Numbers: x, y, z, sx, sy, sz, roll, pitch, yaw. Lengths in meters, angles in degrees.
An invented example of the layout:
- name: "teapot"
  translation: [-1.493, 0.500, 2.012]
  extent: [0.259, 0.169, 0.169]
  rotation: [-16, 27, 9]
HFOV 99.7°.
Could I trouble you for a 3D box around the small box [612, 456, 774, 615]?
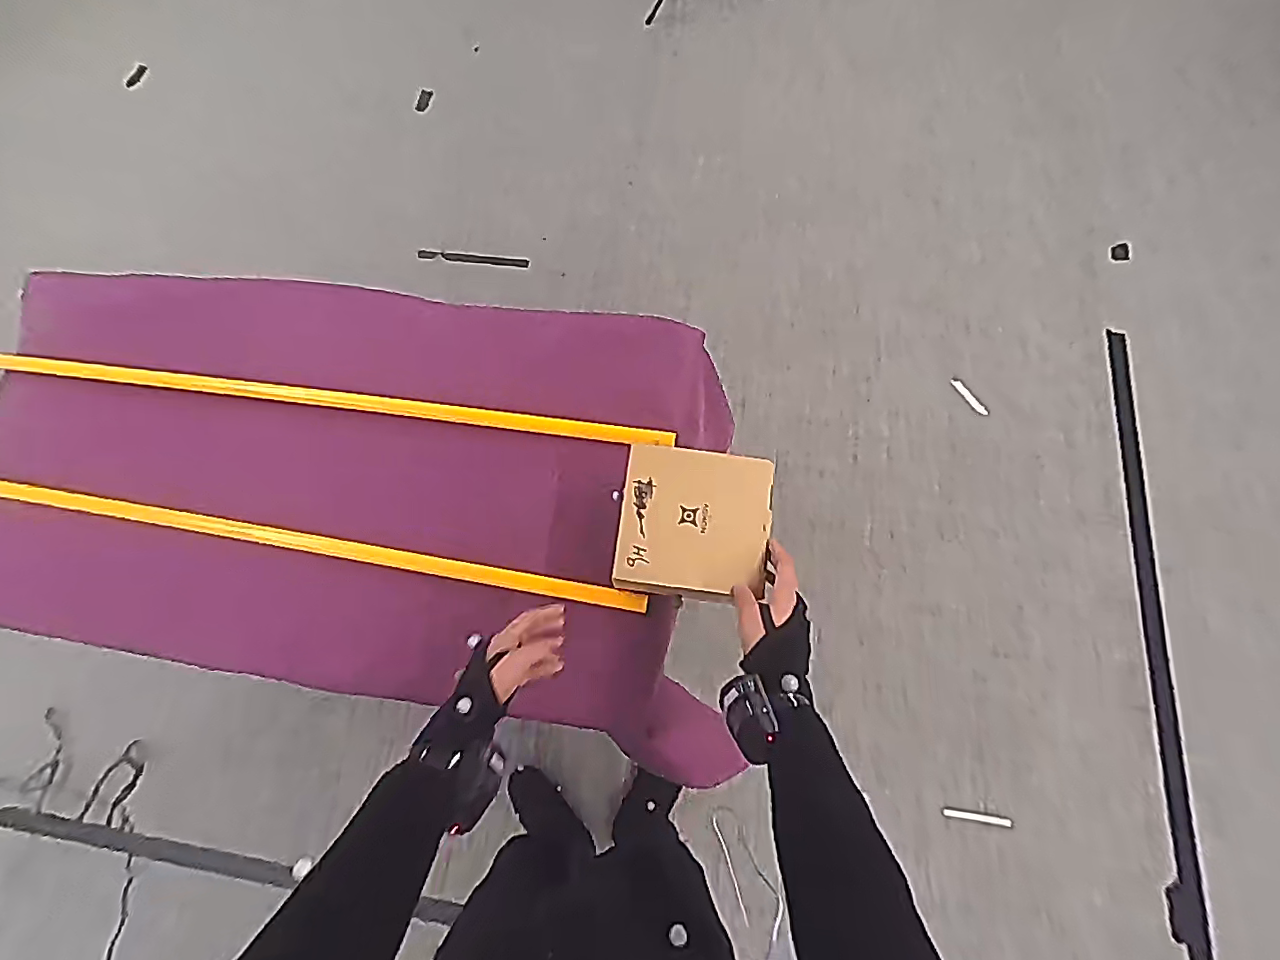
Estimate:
- name: "small box"
  translation: [0.062, 0.080, 0.713]
  extent: [0.179, 0.176, 0.168]
  rotation: [9, 75, 0]
